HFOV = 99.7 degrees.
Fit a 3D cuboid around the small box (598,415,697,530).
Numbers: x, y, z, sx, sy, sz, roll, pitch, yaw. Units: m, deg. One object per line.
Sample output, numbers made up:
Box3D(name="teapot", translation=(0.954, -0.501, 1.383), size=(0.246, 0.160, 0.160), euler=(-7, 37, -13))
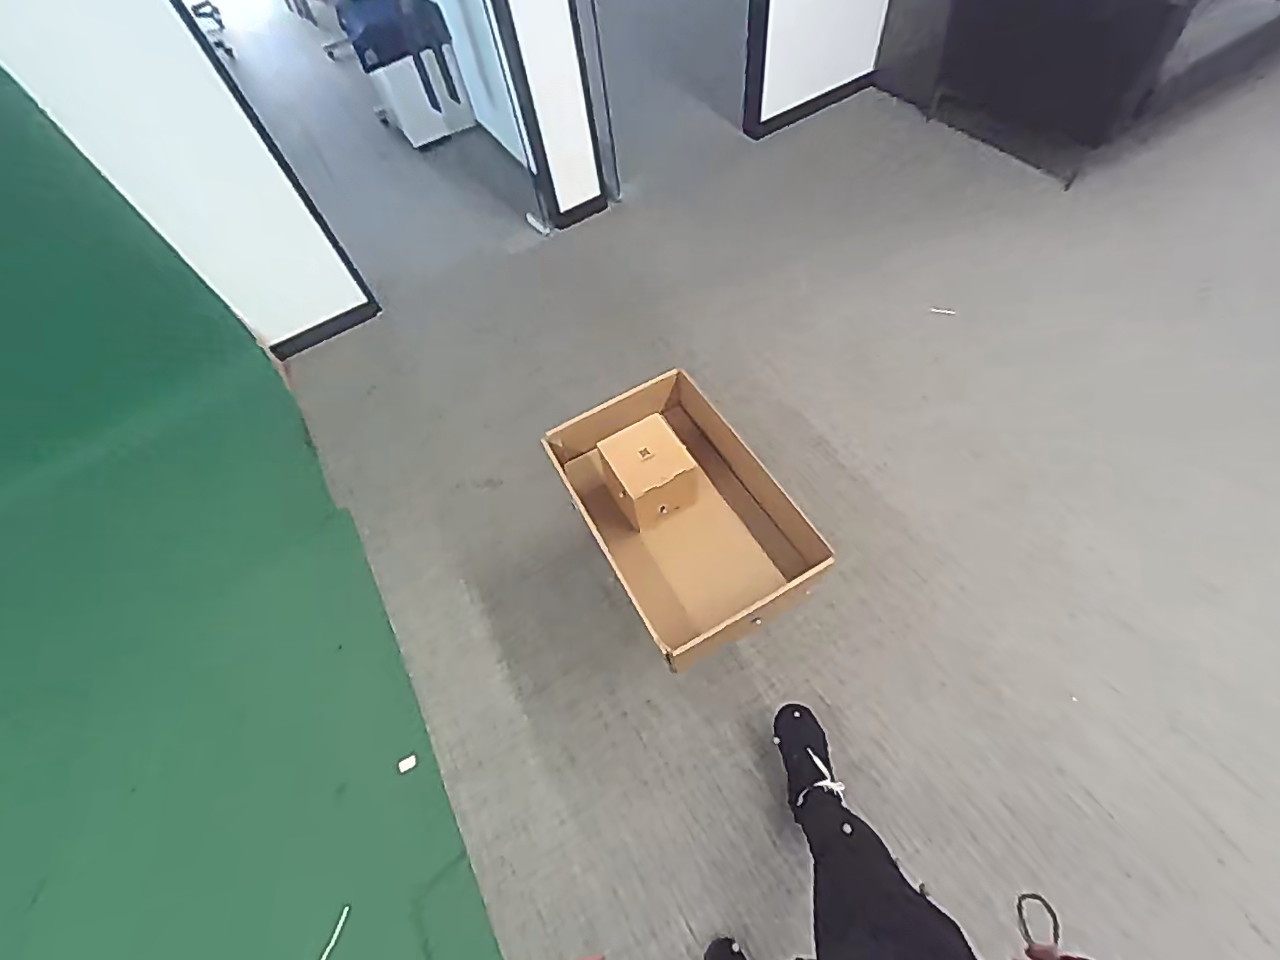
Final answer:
Box3D(name="small box", translation=(0.019, -0.013, 1.272), size=(0.168, 0.176, 0.179), euler=(-28, 60, -11))
